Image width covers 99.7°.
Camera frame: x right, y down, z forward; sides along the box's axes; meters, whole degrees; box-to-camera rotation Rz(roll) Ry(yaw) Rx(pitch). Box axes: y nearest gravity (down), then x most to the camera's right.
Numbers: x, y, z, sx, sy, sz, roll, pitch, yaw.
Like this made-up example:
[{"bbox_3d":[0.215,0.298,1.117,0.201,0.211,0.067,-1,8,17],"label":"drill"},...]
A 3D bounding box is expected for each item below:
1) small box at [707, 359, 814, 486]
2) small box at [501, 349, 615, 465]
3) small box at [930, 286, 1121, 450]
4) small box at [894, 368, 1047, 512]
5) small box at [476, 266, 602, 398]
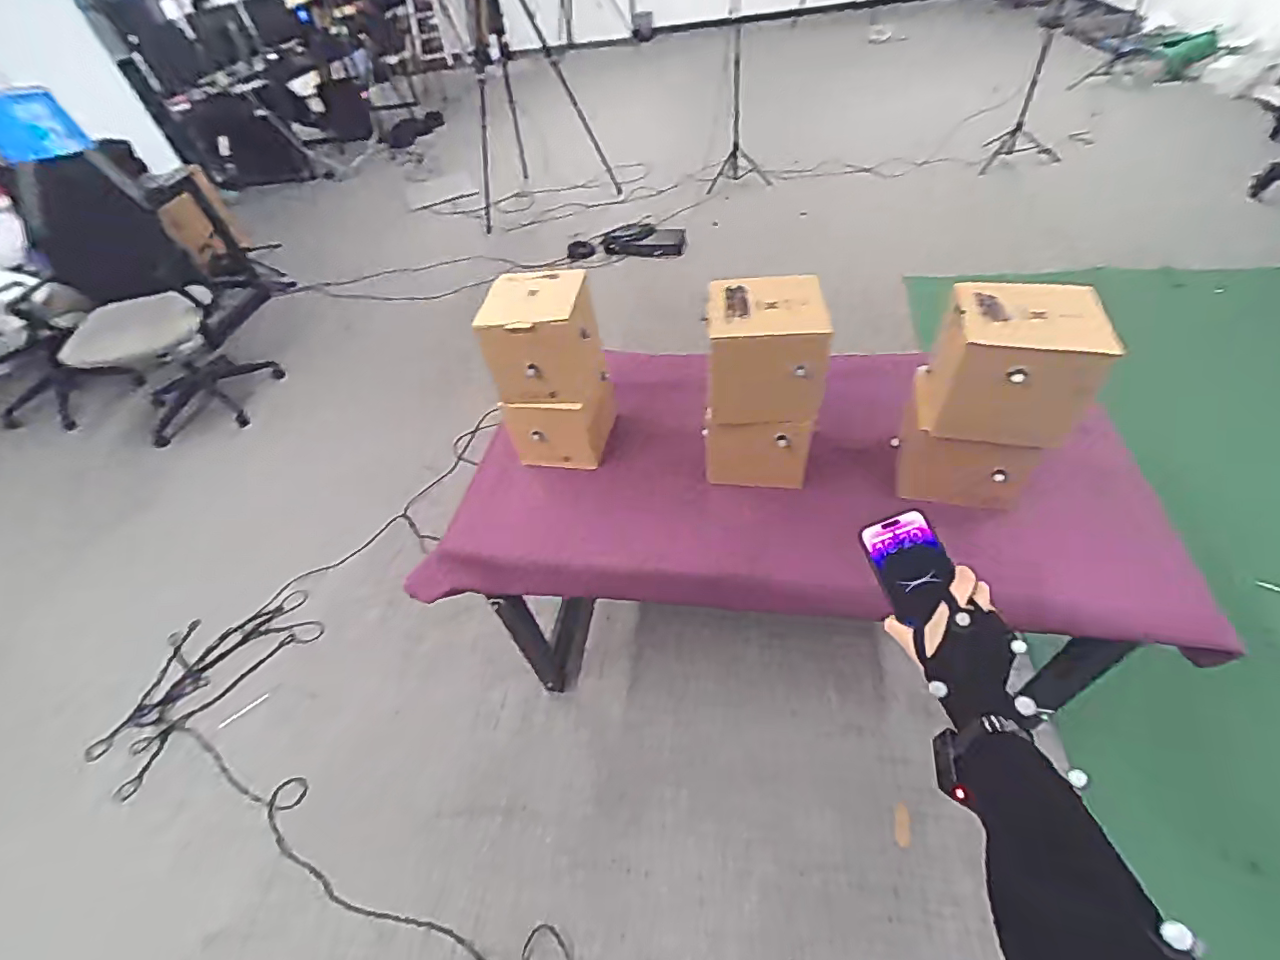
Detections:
[{"bbox_3d":[0.222,-0.104,1.003,0.179,0.176,0.168,4,49,13],"label":"small box"},{"bbox_3d":[-0.155,-0.149,1.101,0.168,0.176,0.179,5,49,13],"label":"small box"},{"bbox_3d":[0.538,-0.163,0.790,0.179,0.176,0.168,10,50,16],"label":"small box"},{"bbox_3d":[0.550,-0.066,0.922,0.179,0.176,0.168,9,50,17],"label":"small box"},{"bbox_3d":[-0.171,-0.265,0.984,0.168,0.176,0.179,2,49,9],"label":"small box"}]
